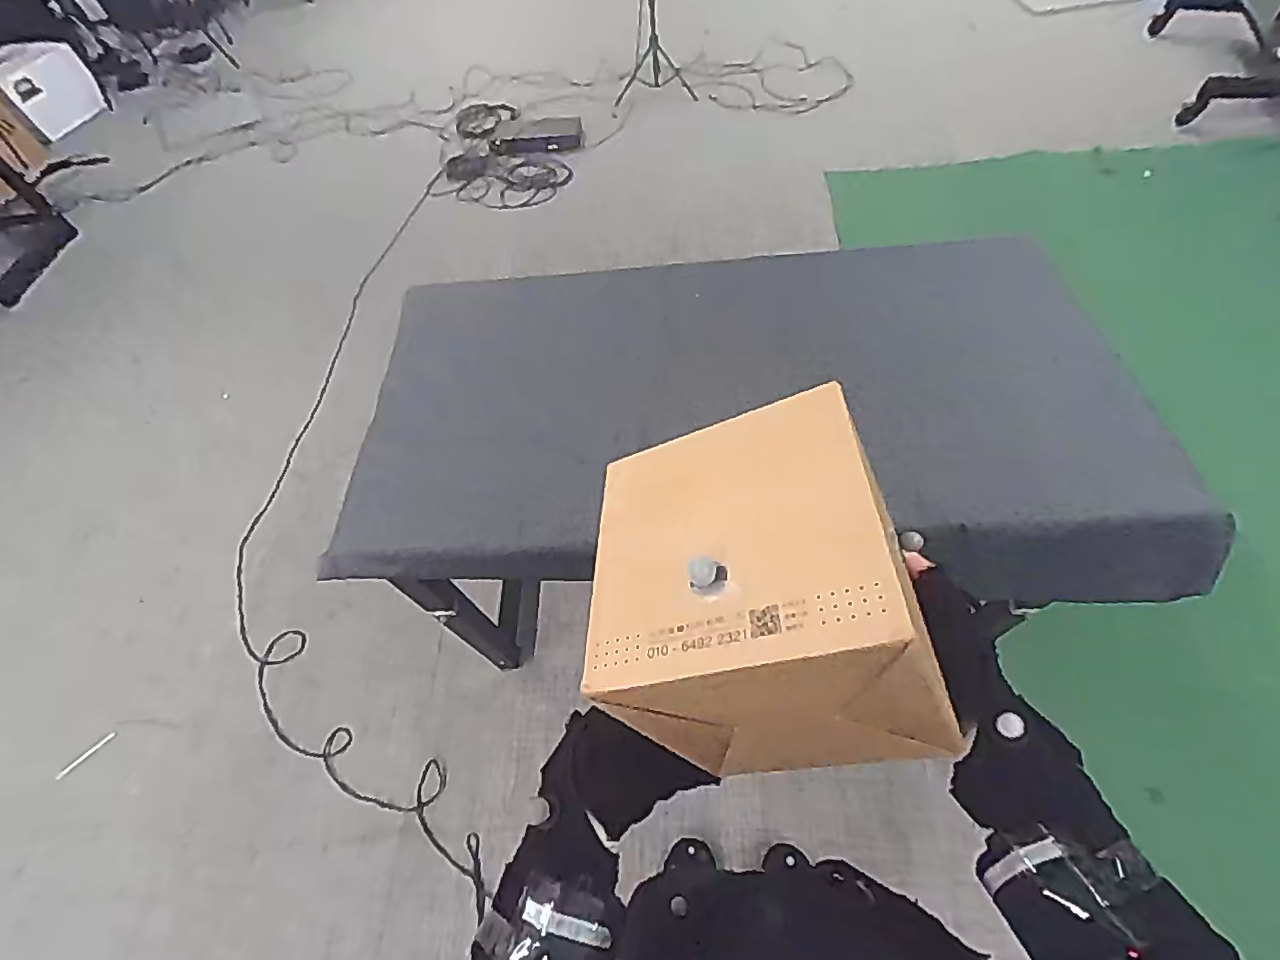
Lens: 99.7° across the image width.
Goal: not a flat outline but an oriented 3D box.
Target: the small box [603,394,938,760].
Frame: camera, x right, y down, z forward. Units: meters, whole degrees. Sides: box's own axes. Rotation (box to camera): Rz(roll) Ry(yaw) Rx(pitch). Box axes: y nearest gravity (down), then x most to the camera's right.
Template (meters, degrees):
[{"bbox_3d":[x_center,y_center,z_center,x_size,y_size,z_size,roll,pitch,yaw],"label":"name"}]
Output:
[{"bbox_3d":[0.086,0.080,0.374,0.168,0.179,0.176,-20,45,23],"label":"small box"}]
